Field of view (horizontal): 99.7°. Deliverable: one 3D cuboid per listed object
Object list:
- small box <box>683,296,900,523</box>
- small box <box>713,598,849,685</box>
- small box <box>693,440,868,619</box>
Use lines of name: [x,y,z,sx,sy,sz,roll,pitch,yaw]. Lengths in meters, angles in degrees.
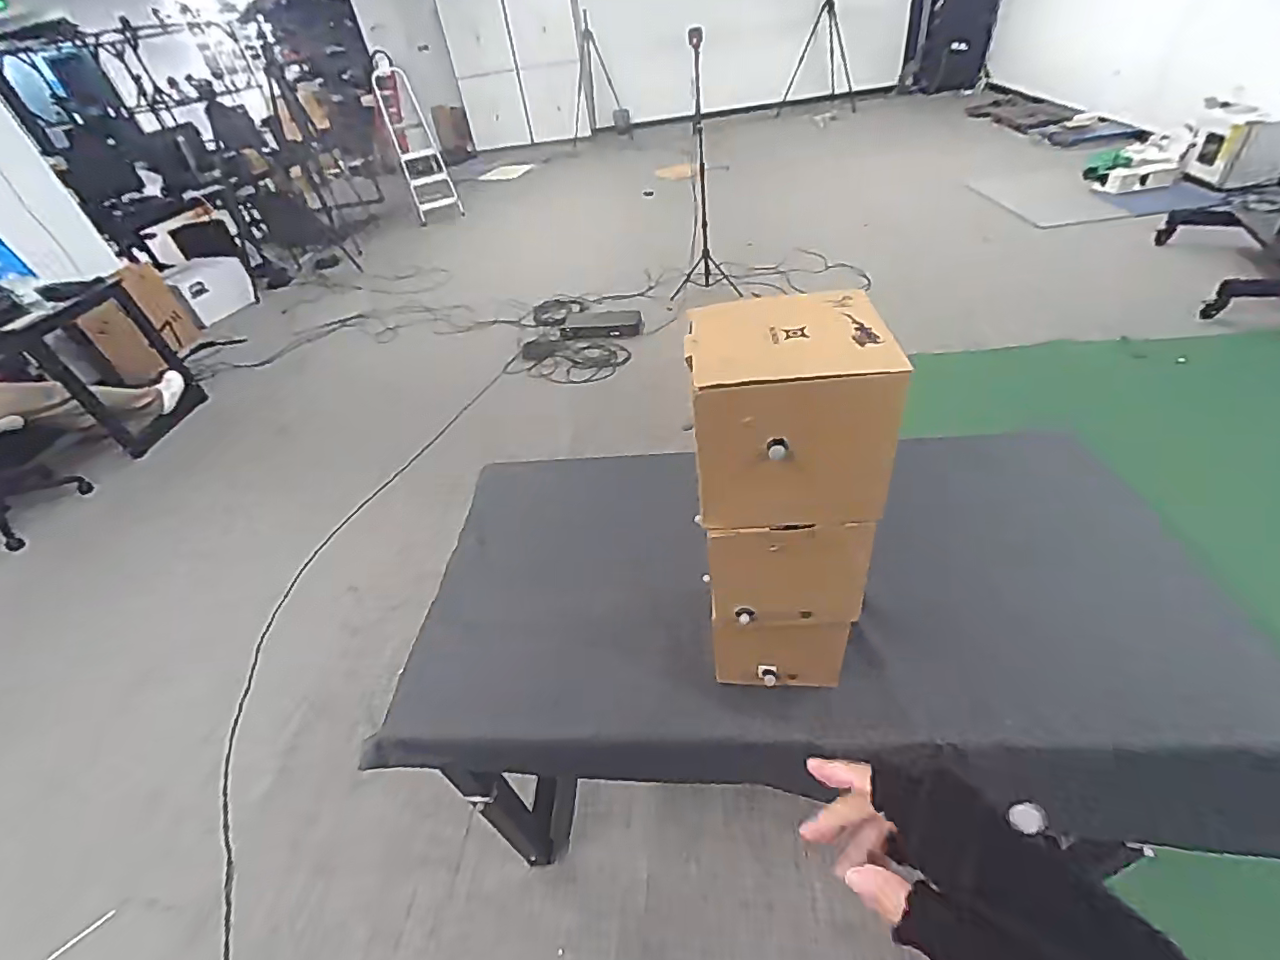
small box: [0.142,-0.070,0.556,0.179,0.176,0.168,-5,38,6]
small box: [0.190,0.168,0.773,0.168,0.176,0.179,-3,42,10]
small box: [0.161,0.054,0.658,0.168,0.176,0.179,-8,41,5]
